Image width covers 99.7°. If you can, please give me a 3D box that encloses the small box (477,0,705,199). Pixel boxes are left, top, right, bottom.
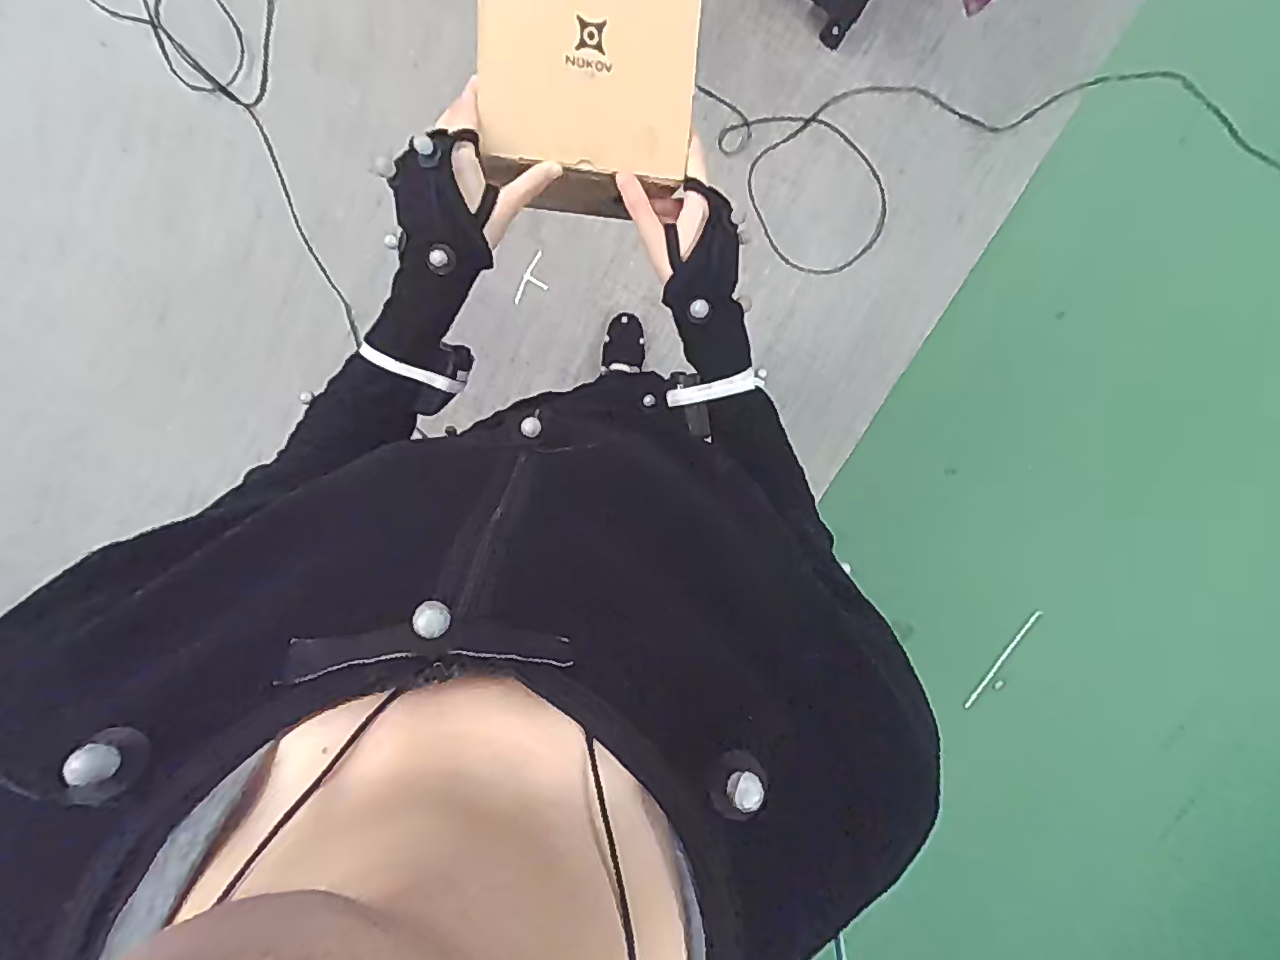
[{"bbox_3d":[-0.047,-0.363,0.472,0.168,0.176,0.179,2,105,-12],"label":"small box"}]
